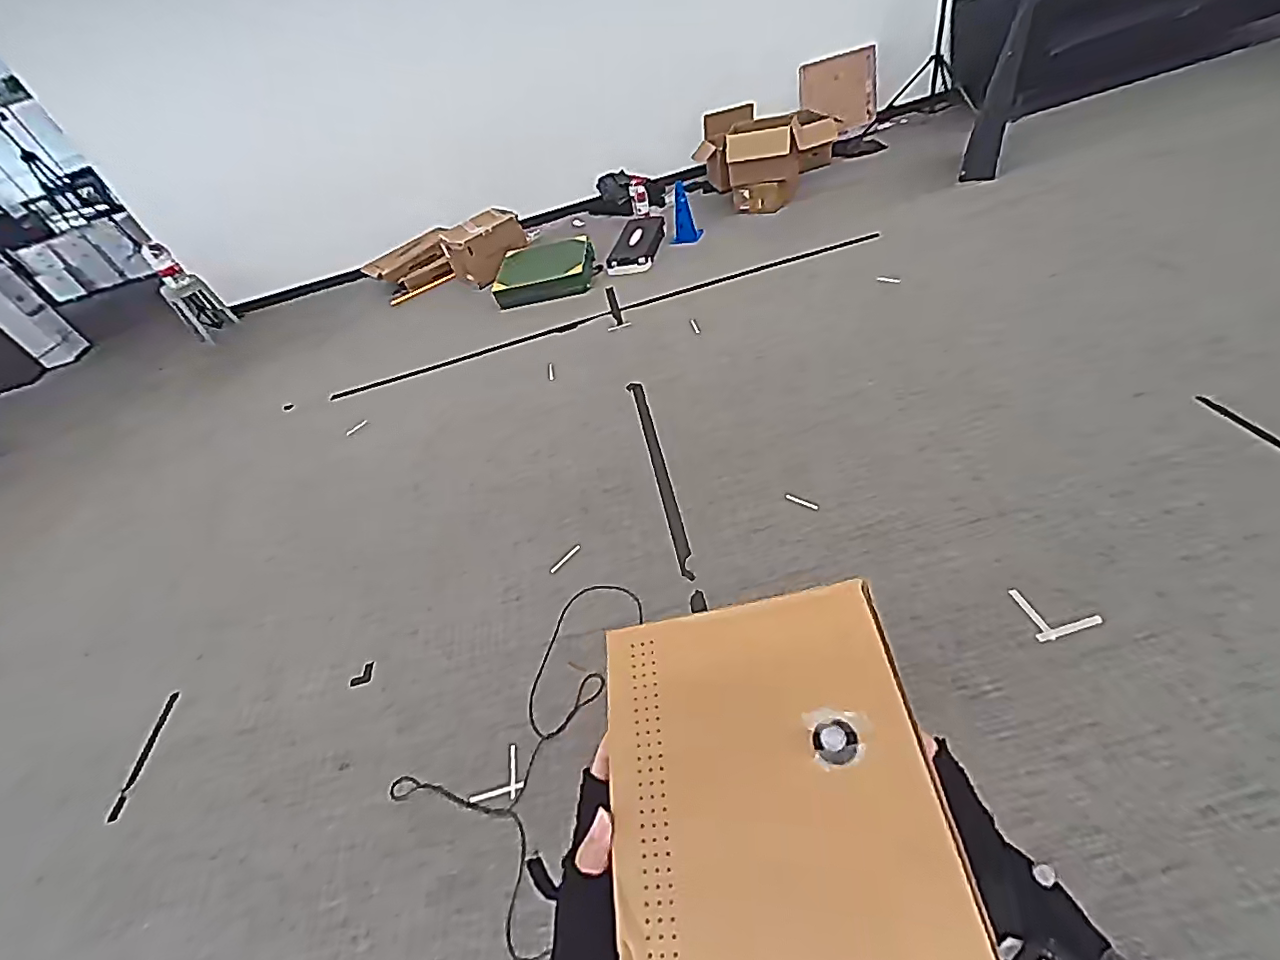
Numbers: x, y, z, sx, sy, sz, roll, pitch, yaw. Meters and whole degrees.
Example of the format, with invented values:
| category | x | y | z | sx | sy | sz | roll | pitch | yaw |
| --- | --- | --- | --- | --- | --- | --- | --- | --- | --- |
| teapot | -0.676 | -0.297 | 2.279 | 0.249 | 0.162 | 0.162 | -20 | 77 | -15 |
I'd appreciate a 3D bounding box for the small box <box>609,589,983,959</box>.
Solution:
| category | x | y | z | sx | sy | sz | roll | pitch | yaw |
| --- | --- | --- | --- | --- | --- | --- | --- | --- | --- |
| small box | 0.085 | 0.198 | 0.349 | 0.176 | 0.168 | 0.179 | -17 | 50 | 15 |
